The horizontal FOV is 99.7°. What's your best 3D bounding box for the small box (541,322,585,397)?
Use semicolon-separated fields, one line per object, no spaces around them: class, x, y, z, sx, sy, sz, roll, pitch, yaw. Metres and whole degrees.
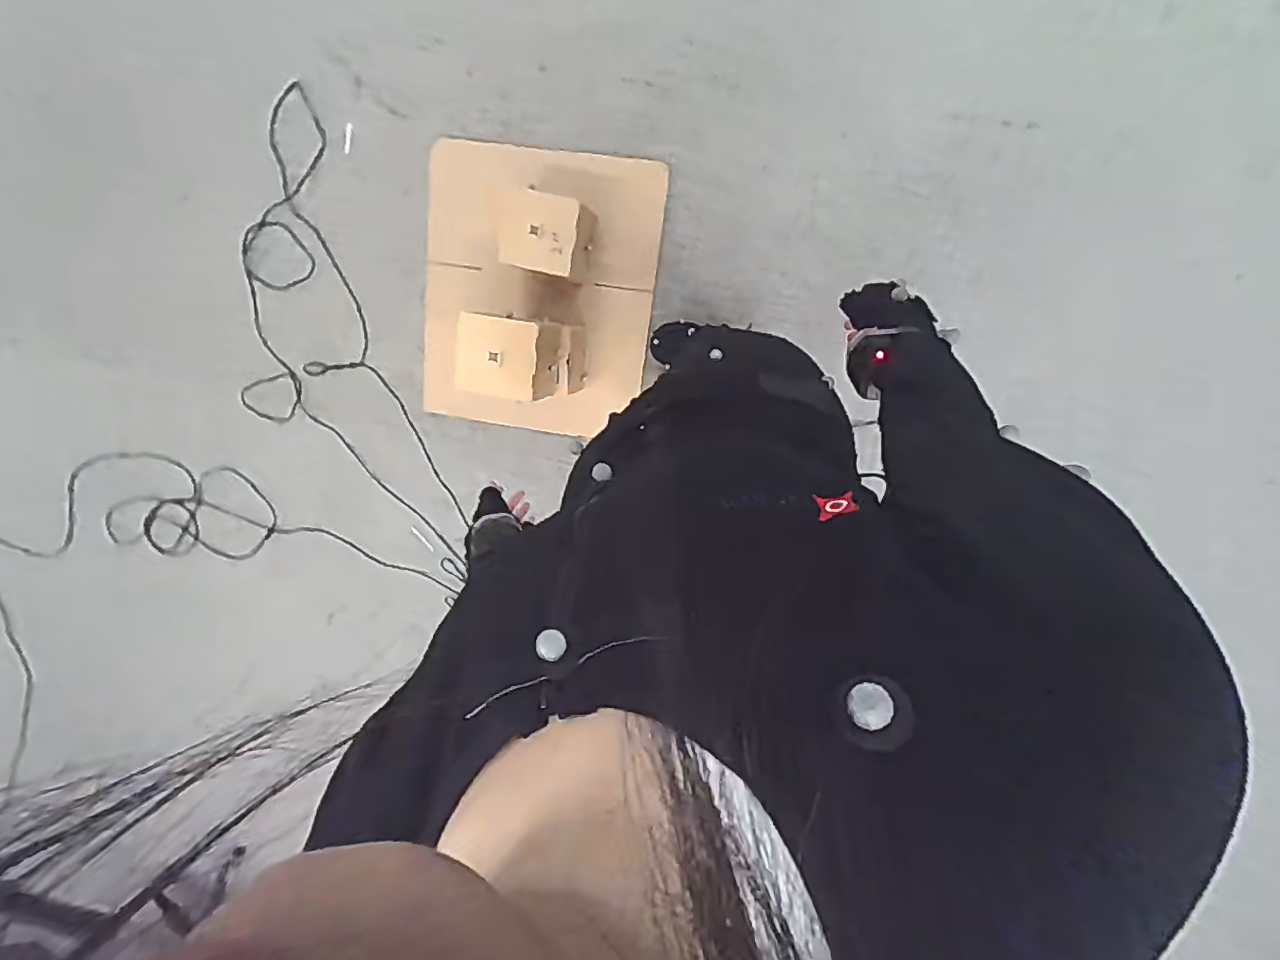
small box;-0.242;-0.309;1.362;0.179;0.176;0.168;7;106;6

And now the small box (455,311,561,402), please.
small box;-0.290;-0.276;1.208;0.179;0.176;0.168;10;106;5

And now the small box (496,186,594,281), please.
small box;-0.222;-0.578;1.290;0.179;0.176;0.168;13;107;3
